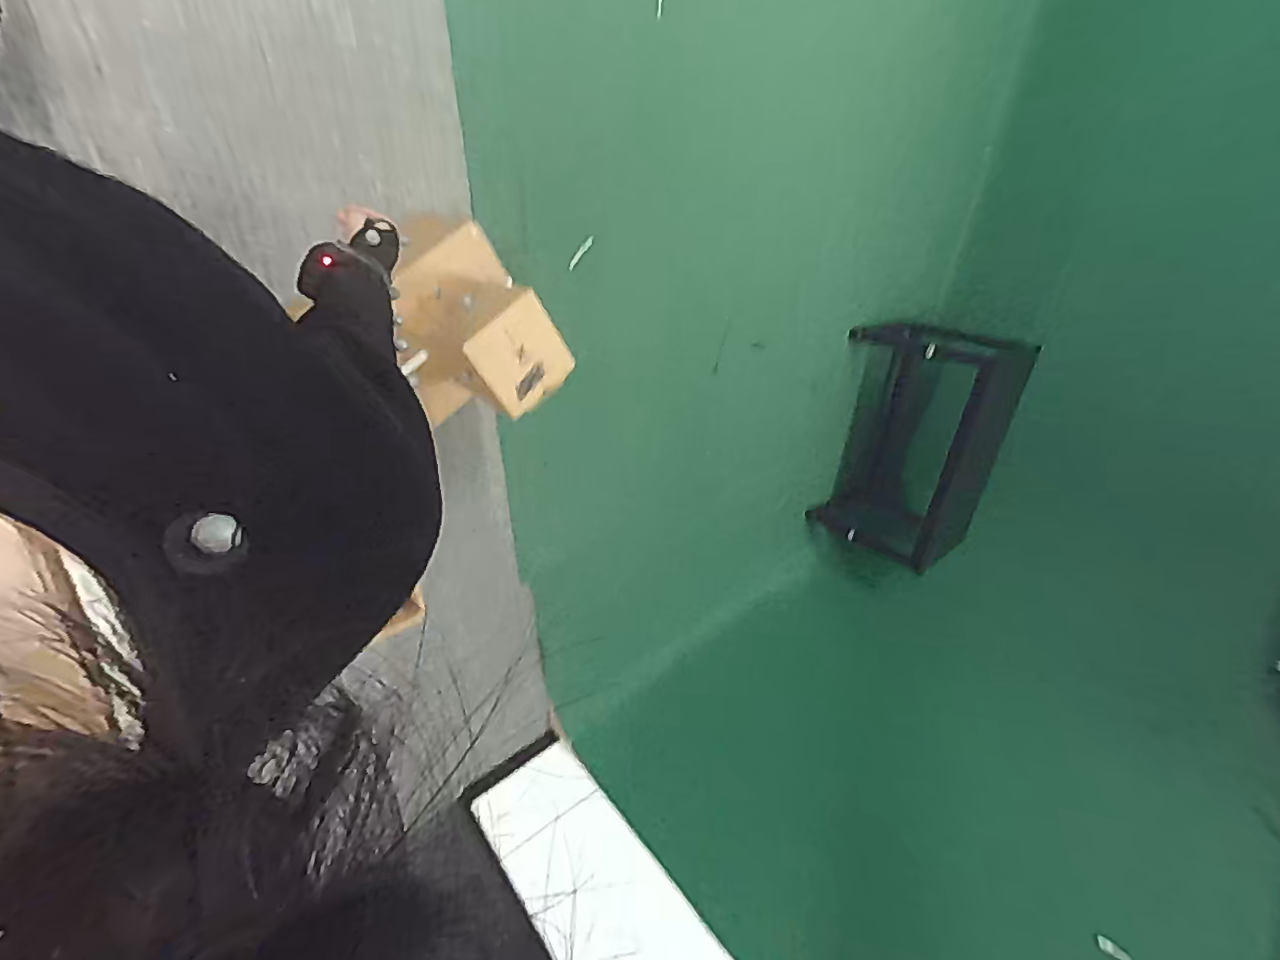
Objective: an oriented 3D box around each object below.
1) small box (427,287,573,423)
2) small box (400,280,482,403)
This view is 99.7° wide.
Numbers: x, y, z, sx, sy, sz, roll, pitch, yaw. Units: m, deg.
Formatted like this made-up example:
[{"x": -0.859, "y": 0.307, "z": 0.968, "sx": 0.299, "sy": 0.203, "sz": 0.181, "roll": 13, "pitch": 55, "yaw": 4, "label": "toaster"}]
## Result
[{"x": -0.266, "y": -0.243, "z": 1.028, "sx": 0.168, "sy": 0.176, "sz": 0.179, "roll": -46, "pitch": 135, "yaw": -16, "label": "small box"}, {"x": -0.367, "y": -0.298, "z": 1.146, "sx": 0.168, "sy": 0.176, "sz": 0.179, "roll": -49, "pitch": 137, "yaw": -12, "label": "small box"}]
